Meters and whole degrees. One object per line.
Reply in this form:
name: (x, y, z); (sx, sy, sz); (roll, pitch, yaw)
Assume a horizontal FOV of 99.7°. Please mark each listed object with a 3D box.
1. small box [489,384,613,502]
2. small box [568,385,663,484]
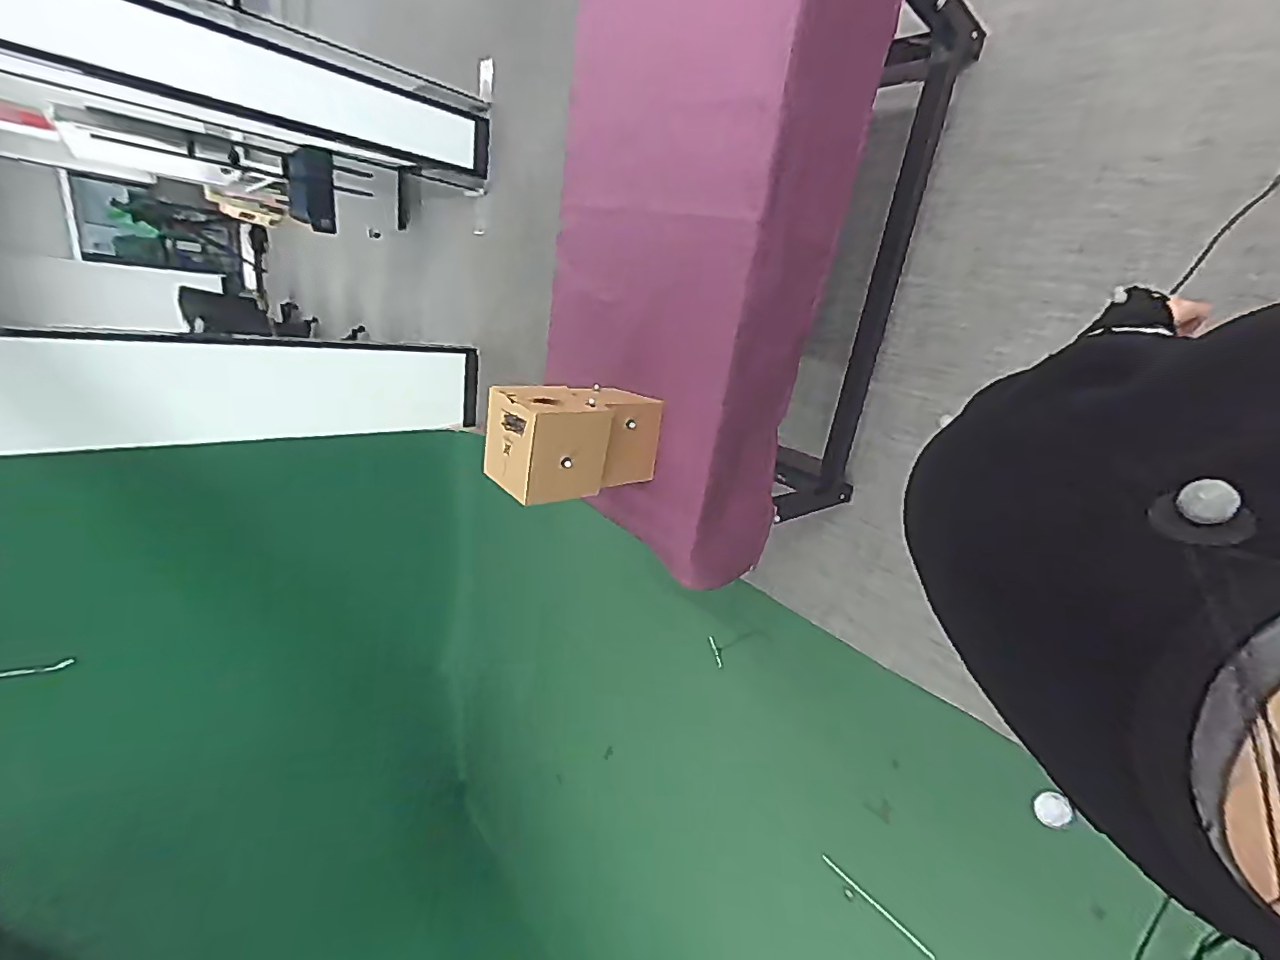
small box: (-0.170, -0.080, 1.040); (0.168, 0.176, 0.179); (31, 120, 41)
small box: (-0.068, -0.106, 1.170); (0.168, 0.176, 0.179); (25, 115, 43)
